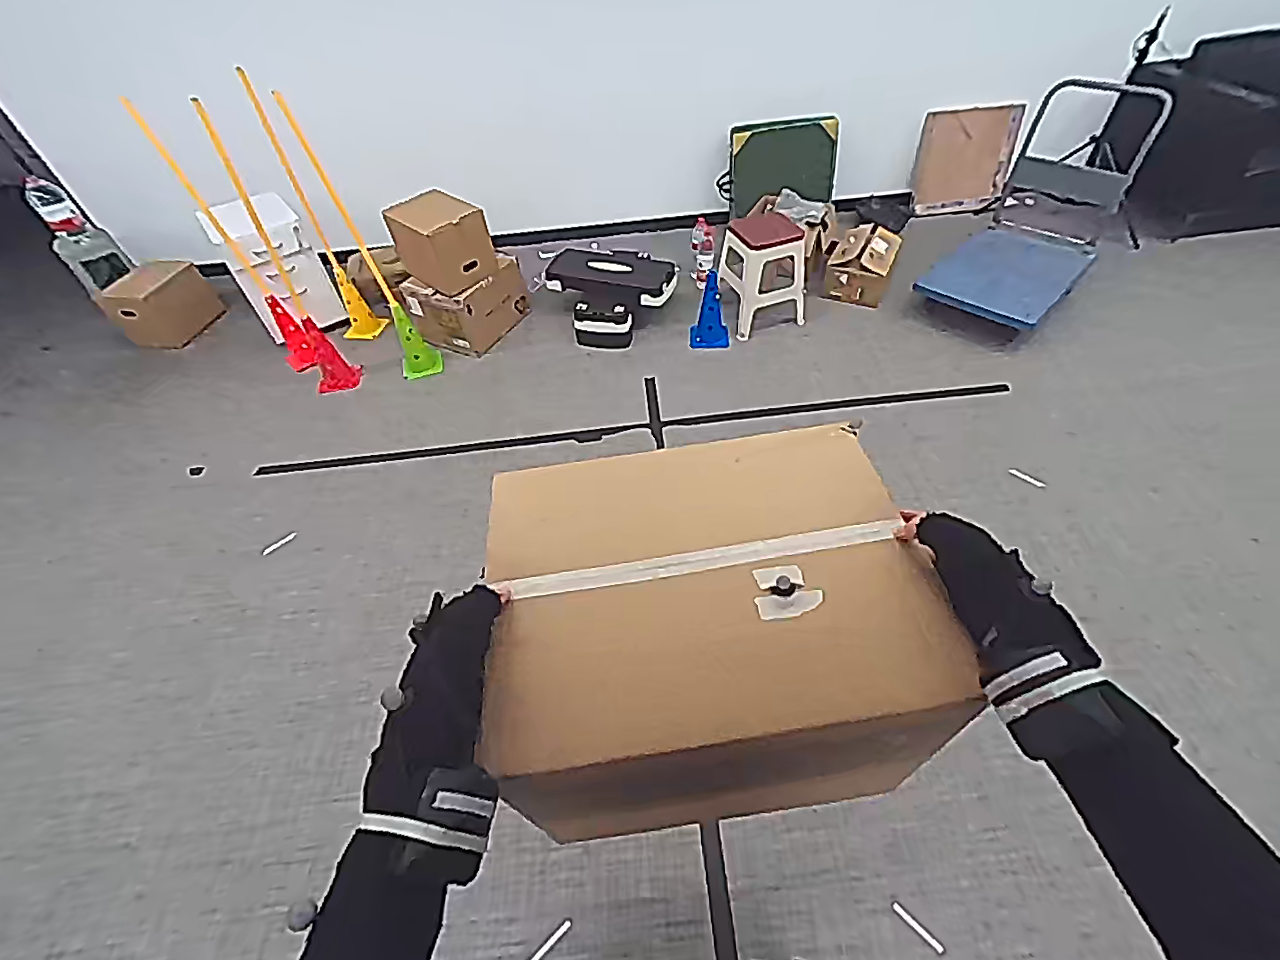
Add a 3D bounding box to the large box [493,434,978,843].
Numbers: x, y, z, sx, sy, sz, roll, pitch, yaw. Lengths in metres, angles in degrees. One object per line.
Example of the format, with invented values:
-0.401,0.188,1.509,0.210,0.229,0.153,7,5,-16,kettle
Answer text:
0.069,0.188,0.635,0.408,0.320,0.320,-9,48,-1,large box
